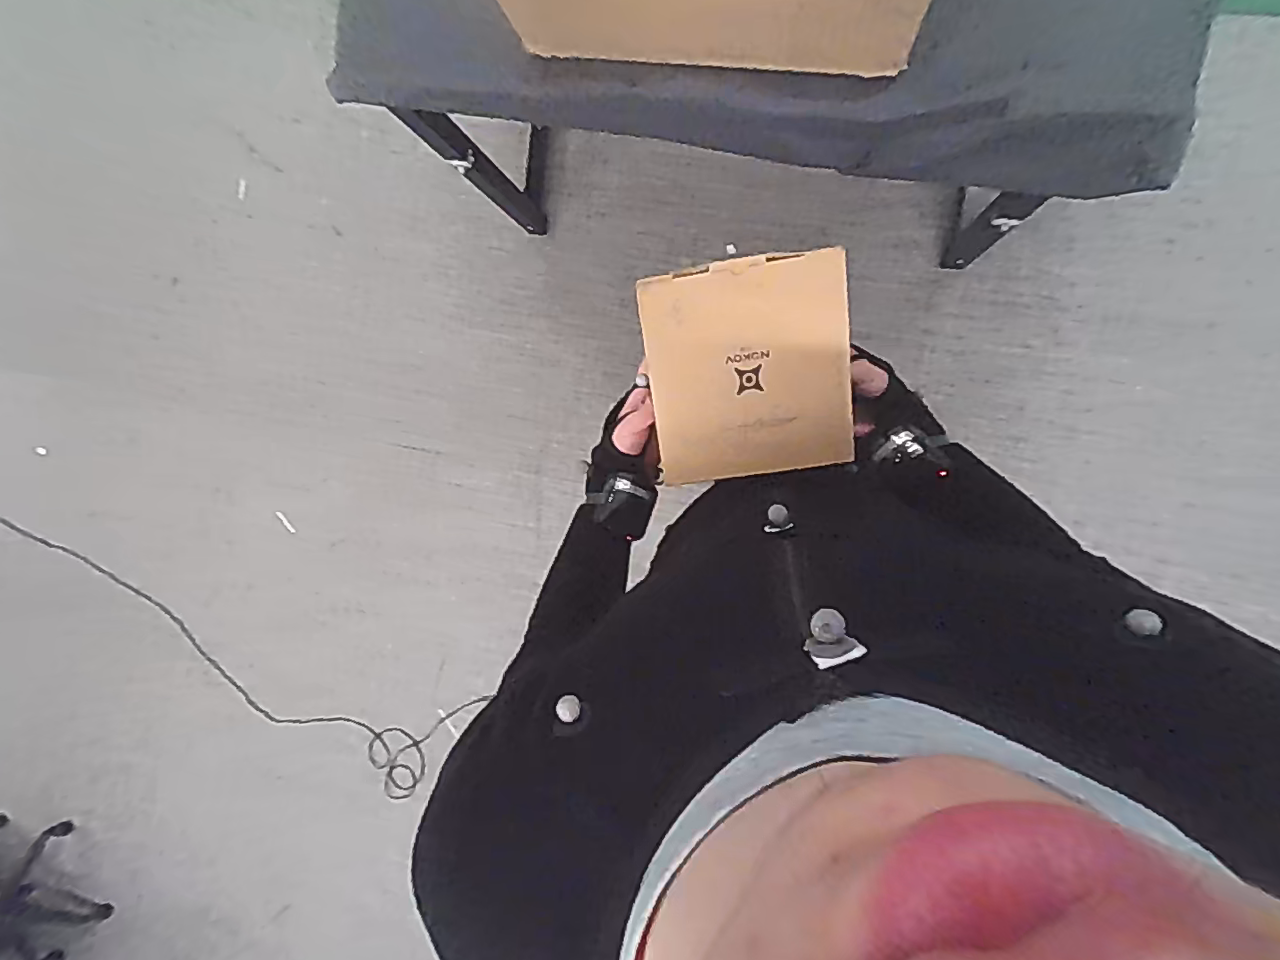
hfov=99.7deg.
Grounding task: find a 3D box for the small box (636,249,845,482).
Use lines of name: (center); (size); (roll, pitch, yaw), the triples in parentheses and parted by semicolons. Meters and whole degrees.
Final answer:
small box: (0.091, -0.112, 0.525); (0.168, 0.176, 0.179); (-7, 108, 7)
